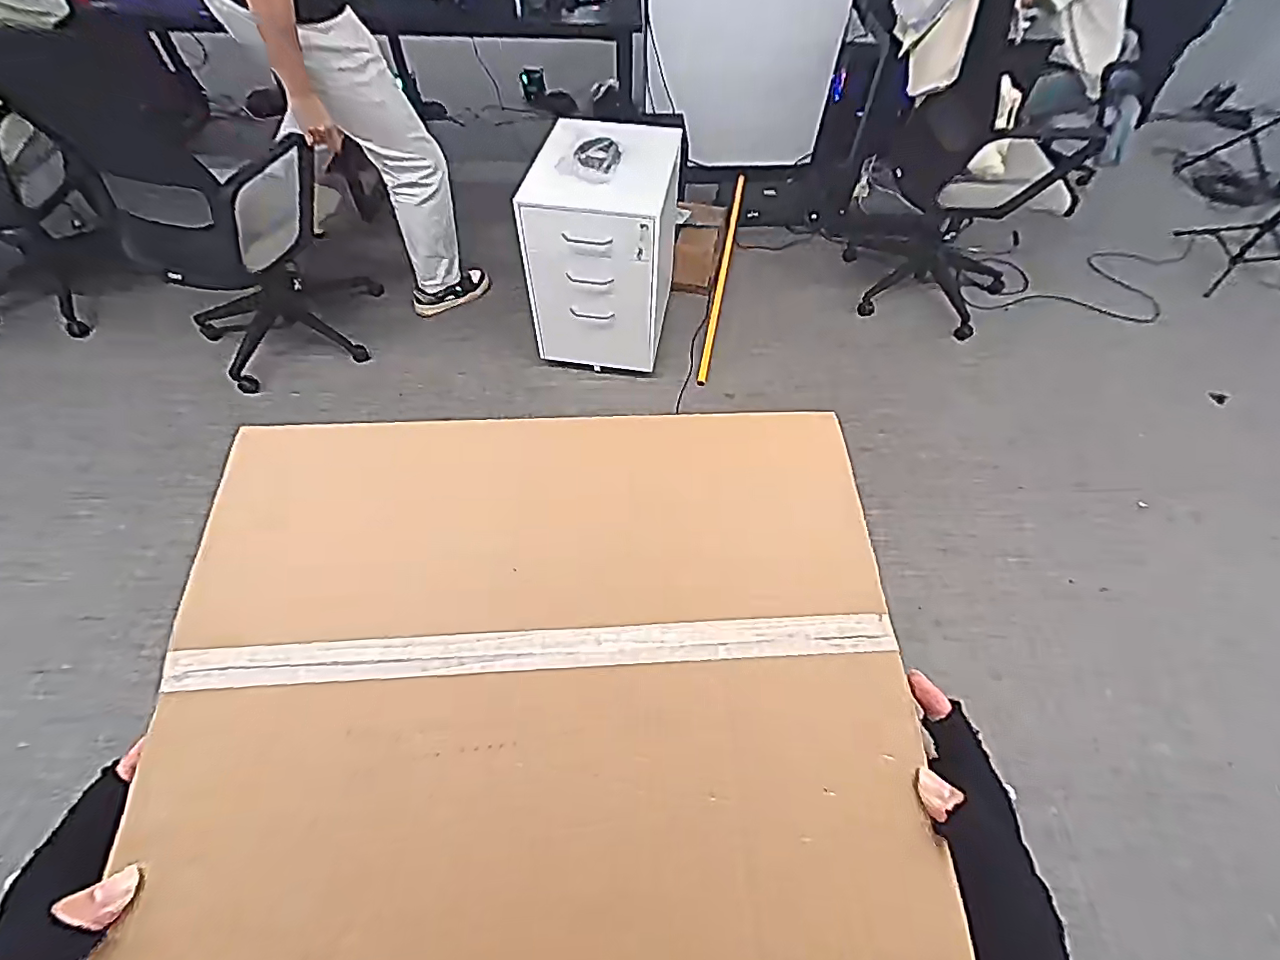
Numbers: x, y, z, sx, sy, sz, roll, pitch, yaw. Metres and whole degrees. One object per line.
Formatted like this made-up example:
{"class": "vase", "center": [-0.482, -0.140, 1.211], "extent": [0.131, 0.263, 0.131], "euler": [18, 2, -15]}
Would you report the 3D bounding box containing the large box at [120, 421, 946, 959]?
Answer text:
{"class": "large box", "center": [-0.060, 0.168, 0.453], "extent": [0.408, 0.320, 0.320], "euler": [-2, 65, -3]}
